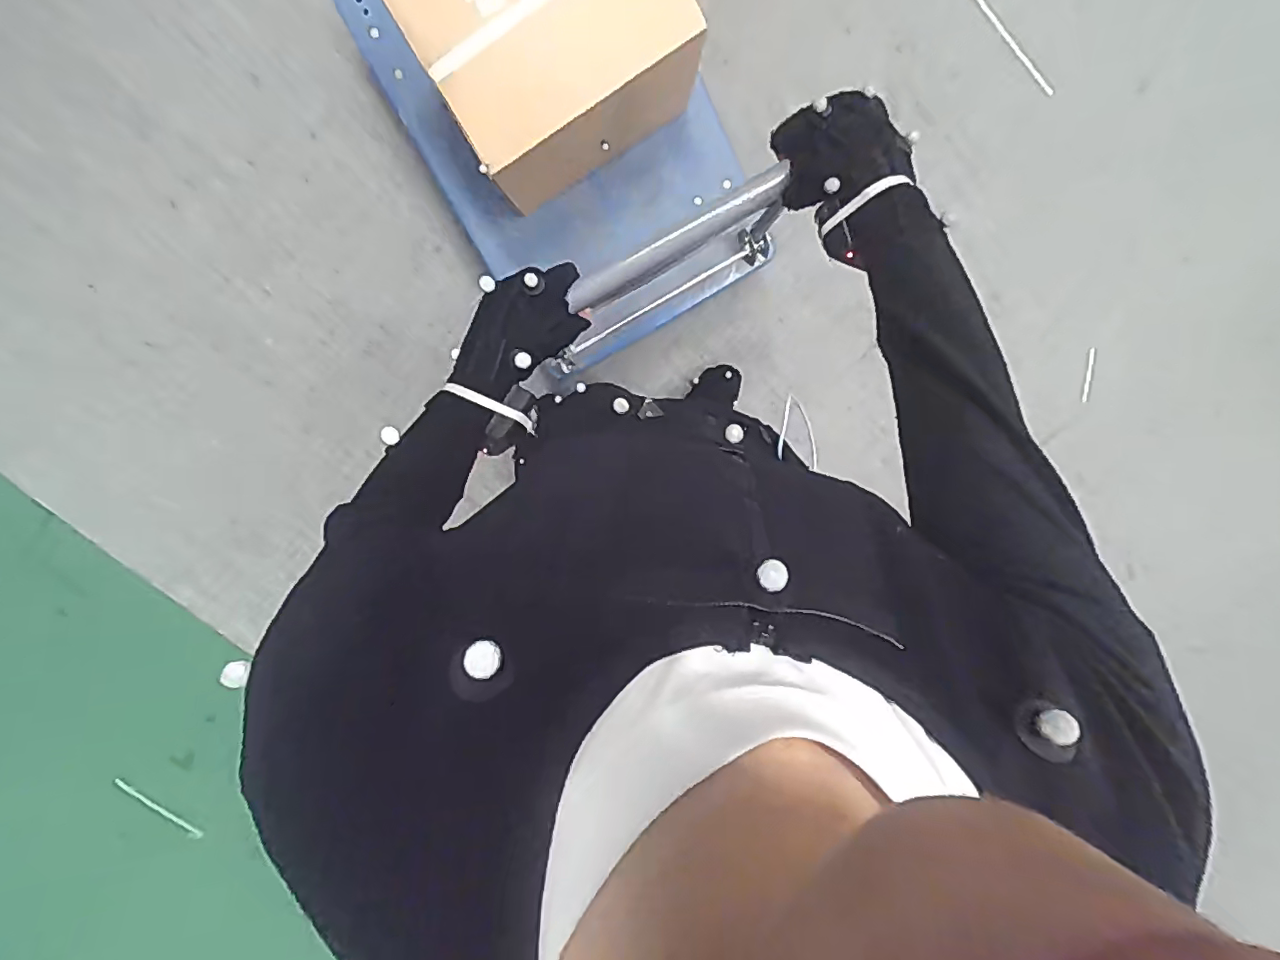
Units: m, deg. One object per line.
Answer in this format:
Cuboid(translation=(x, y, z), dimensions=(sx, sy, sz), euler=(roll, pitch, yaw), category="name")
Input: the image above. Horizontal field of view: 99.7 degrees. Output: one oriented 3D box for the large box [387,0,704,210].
Cuboid(translation=(-0.146, -0.763, 0.965), dimensions=(0.408, 0.320, 0.320), euler=(-31, 103, 7), category="large box")
